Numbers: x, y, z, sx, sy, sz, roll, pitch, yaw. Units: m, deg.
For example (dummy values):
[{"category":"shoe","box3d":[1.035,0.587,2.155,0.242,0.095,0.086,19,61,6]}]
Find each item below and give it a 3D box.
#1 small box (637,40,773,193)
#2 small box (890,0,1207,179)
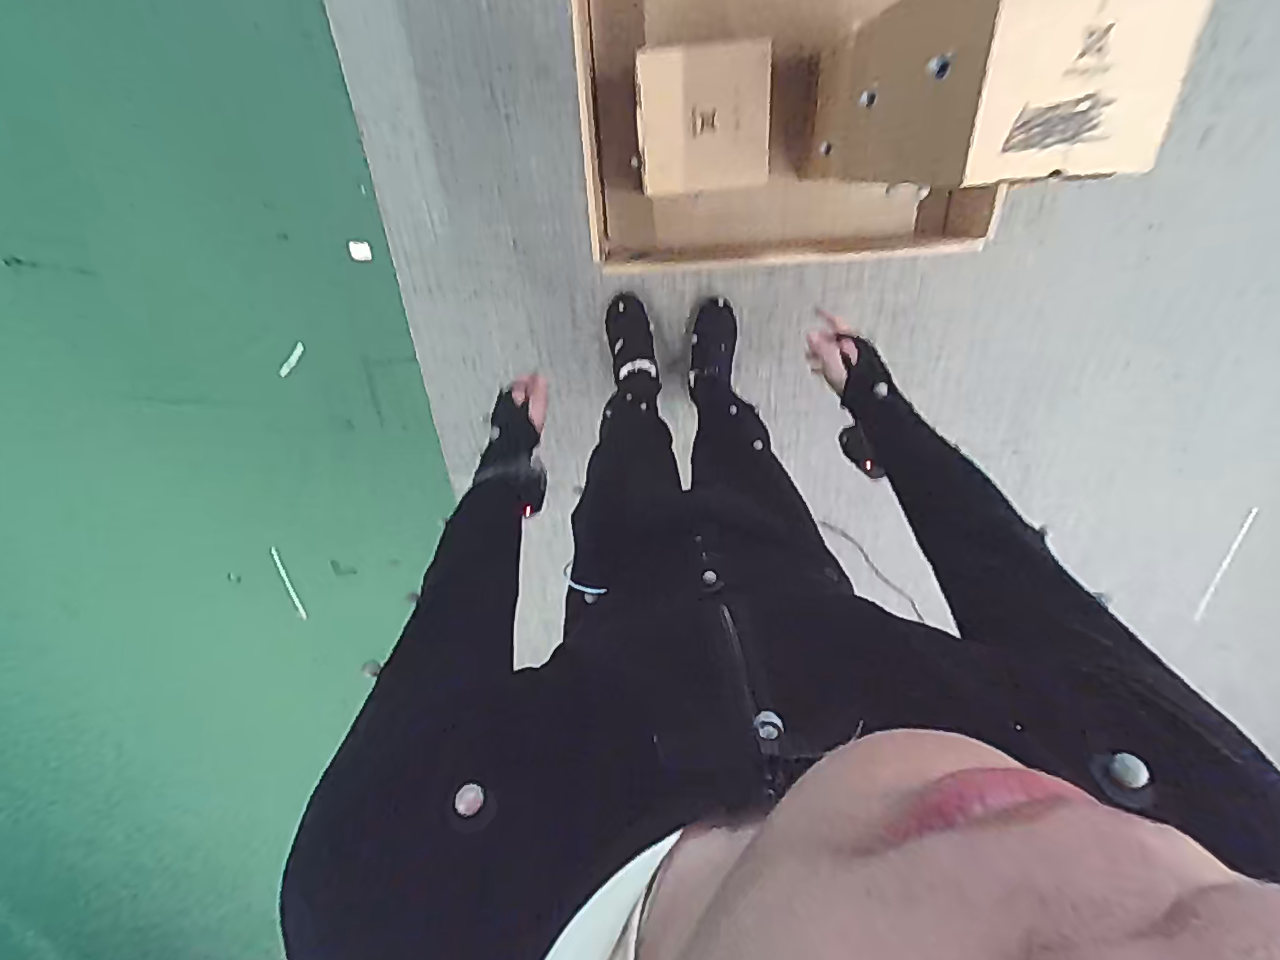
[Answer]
[{"category":"small box","box3d":[0.086,-0.521,0.796,0.179,0.176,0.168,-5,119,0]},{"category":"small box","box3d":[0.353,-0.382,0.499,0.168,0.176,0.179,-3,118,1]}]
